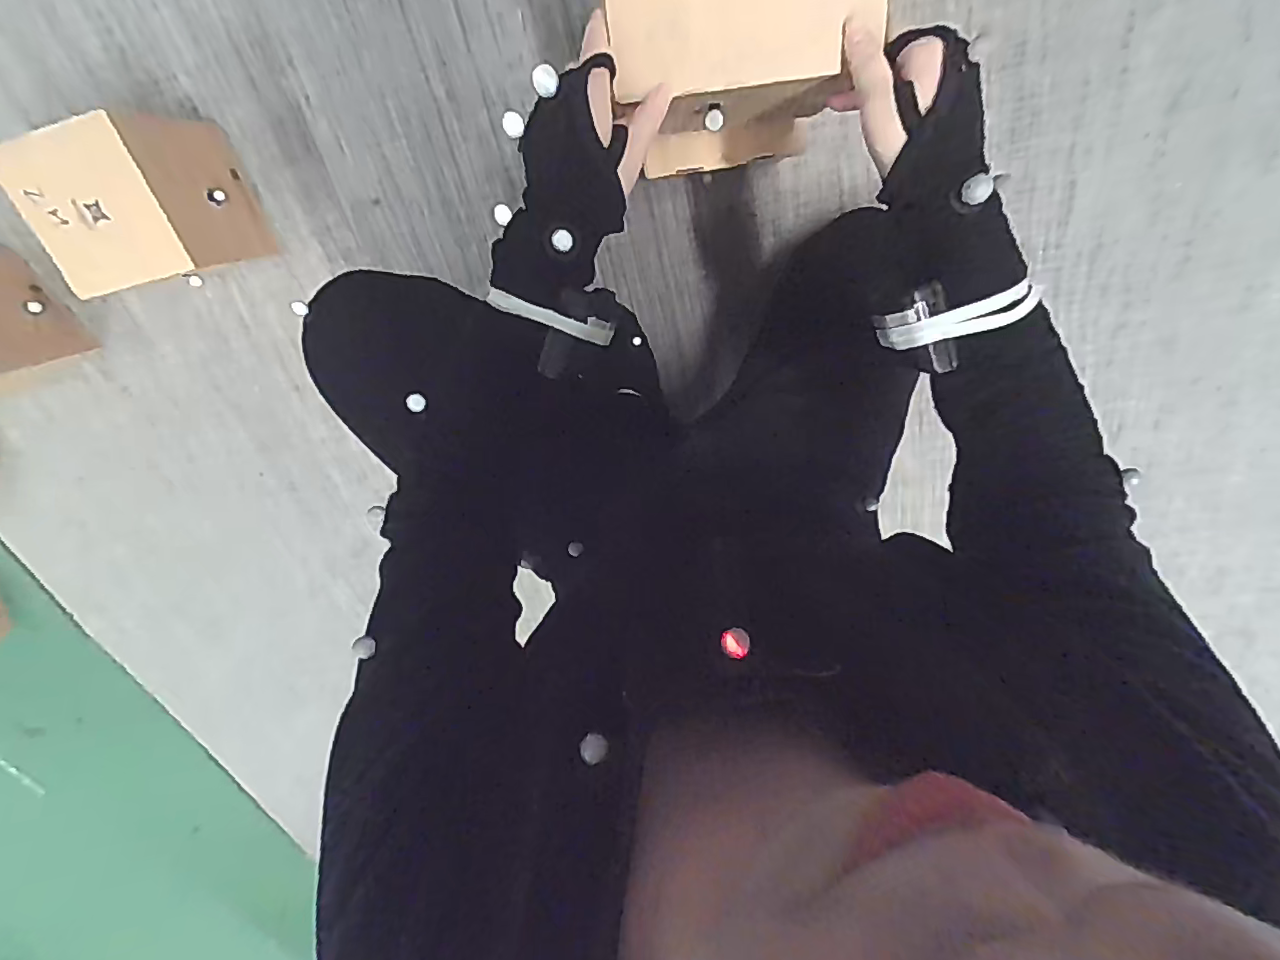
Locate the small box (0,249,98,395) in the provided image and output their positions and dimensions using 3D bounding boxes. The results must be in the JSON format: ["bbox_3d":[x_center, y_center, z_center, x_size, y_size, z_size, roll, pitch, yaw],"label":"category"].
[{"bbox_3d":[-0.981,-0.219,0.794,0.179,0.176,0.168,-21,115,14],"label":"small box"}]

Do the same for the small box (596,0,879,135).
[{"bbox_3d":[0.061,-0.366,0.392,0.179,0.176,0.168,-4,115,5],"label":"small box"}]

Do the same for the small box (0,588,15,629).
[{"bbox_3d":[-1.478,0.275,1.107,0.179,0.176,0.168,11,119,-2],"label":"small box"}]

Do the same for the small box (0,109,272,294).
[{"bbox_3d":[-0.620,-0.352,0.693,0.179,0.176,0.168,-9,117,9],"label":"small box"}]
